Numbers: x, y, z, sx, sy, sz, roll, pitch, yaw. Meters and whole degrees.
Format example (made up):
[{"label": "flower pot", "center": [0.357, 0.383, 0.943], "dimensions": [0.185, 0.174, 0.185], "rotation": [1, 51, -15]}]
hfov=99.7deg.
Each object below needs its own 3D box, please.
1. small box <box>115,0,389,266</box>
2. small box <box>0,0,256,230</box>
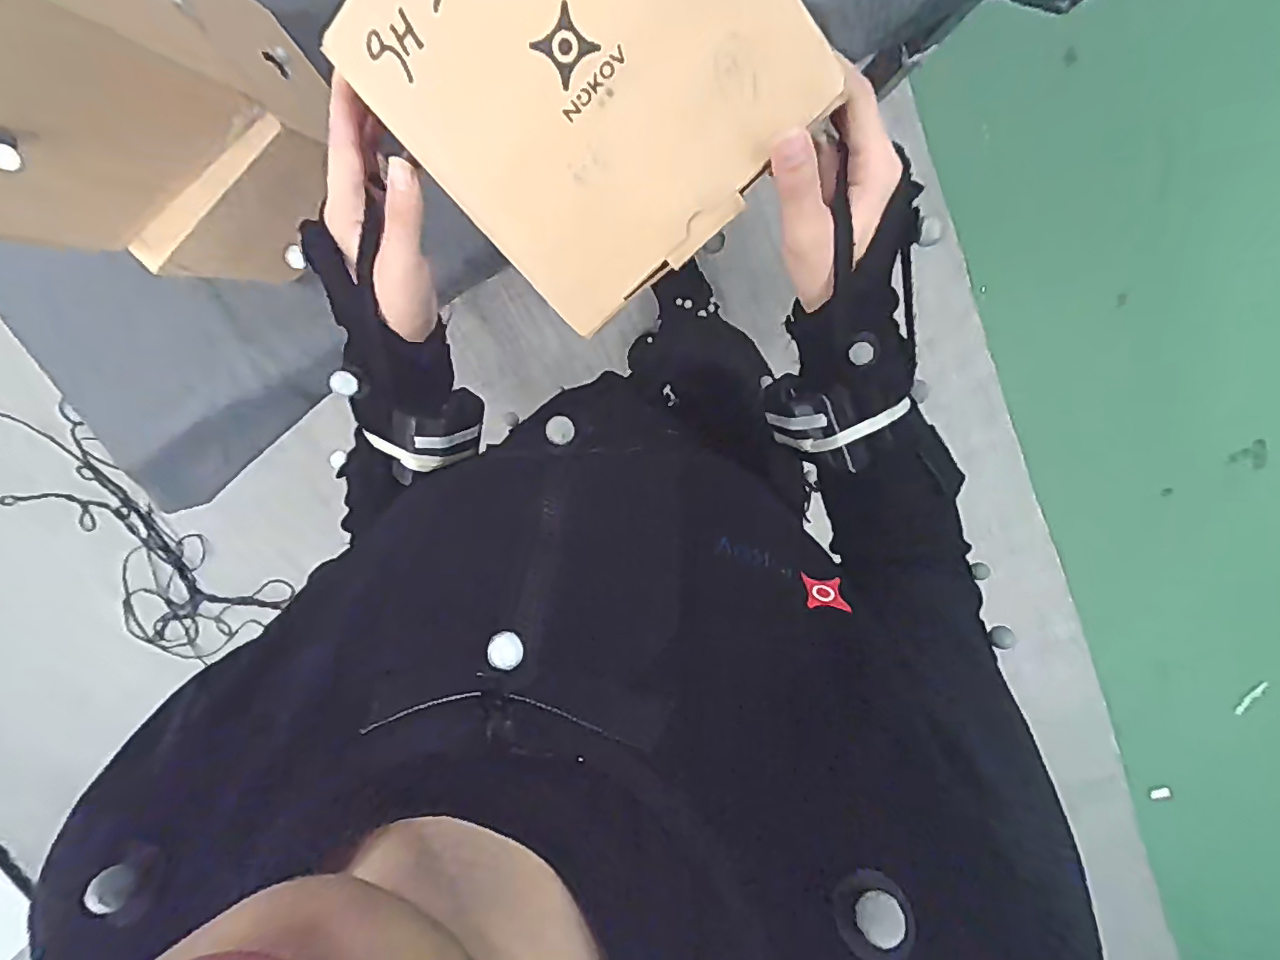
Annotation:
[{"label": "small box", "center": [-0.361, -0.302, 0.457], "dimensions": [0.168, 0.176, 0.179], "rotation": [-35, 104, 14]}, {"label": "small box", "center": [-0.375, -0.264, 0.299], "dimensions": [0.179, 0.176, 0.168], "rotation": [-31, 106, 13]}]
